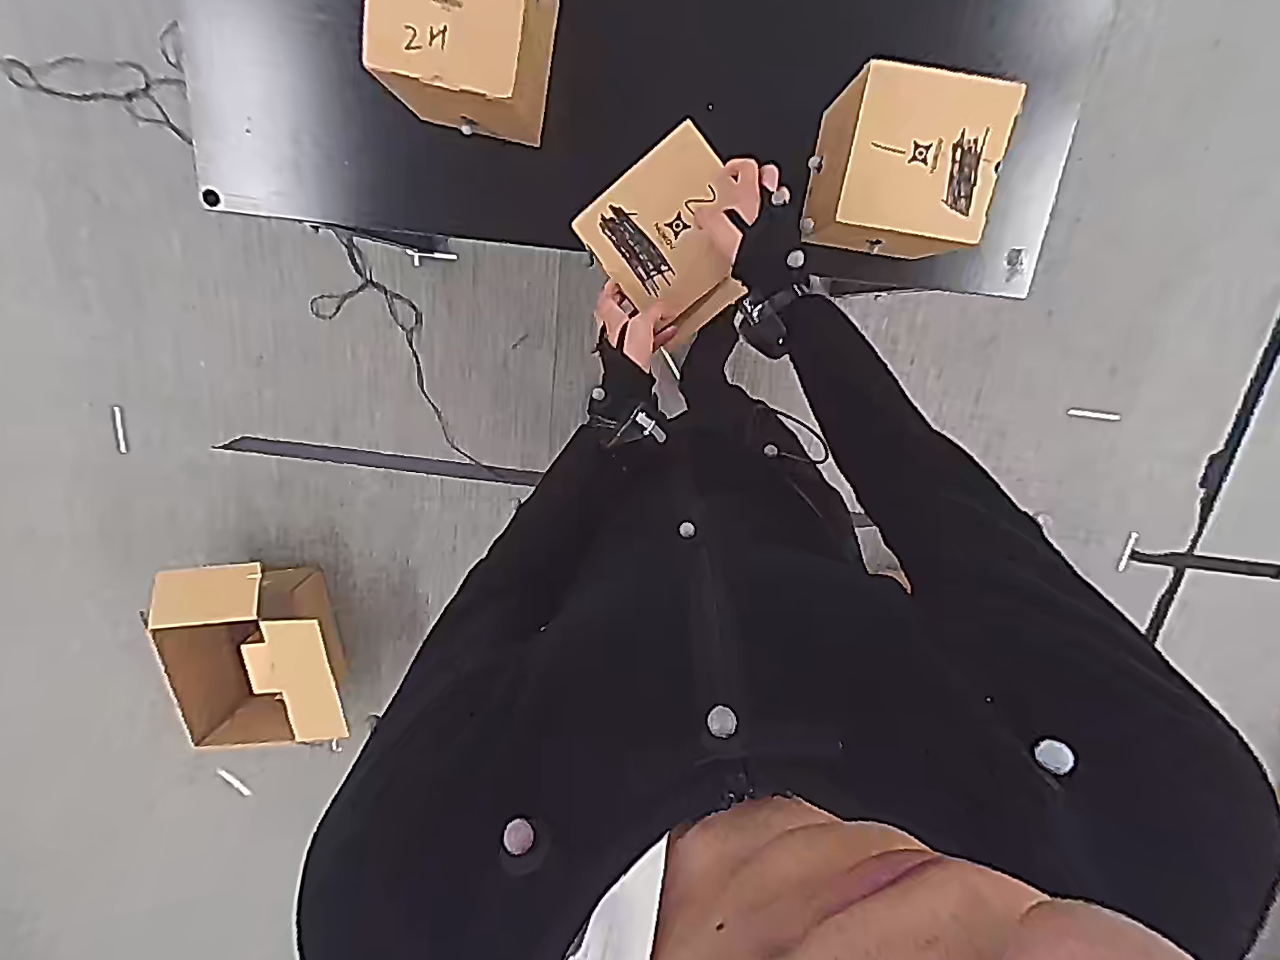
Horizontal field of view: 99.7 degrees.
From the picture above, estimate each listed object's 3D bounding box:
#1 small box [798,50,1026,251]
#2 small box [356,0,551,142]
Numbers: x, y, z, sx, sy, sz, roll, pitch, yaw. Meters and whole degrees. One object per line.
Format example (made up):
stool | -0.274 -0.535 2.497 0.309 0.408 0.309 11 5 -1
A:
small box | 0.319 -0.391 0.675 0.179 0.176 0.168 8 107 -1
small box | -0.204 -0.532 0.631 0.168 0.176 0.179 11 107 -3
